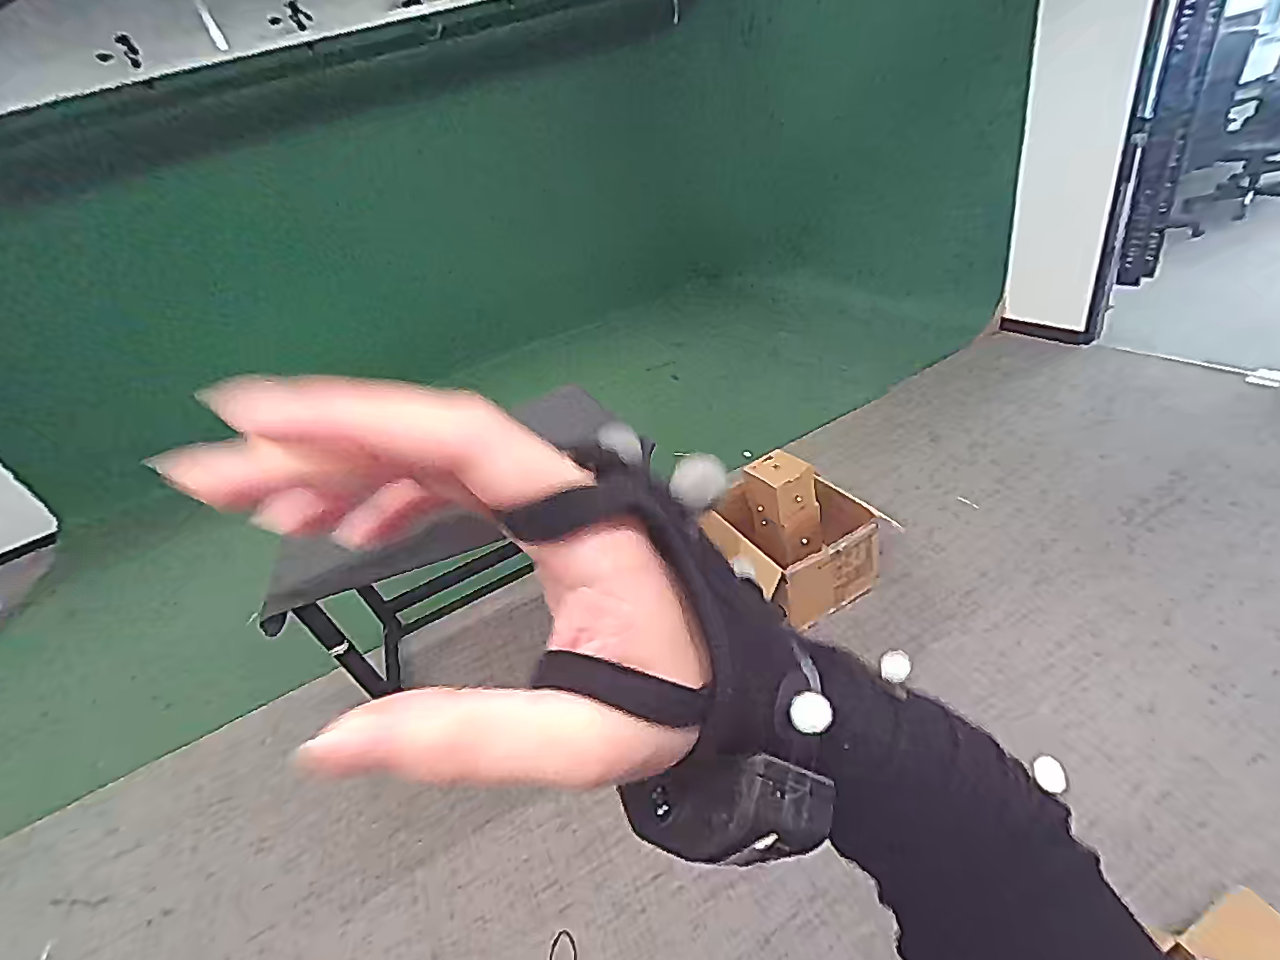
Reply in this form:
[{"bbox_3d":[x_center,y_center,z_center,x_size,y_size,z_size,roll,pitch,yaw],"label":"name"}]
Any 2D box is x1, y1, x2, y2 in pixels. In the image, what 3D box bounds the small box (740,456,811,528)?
[{"bbox_3d":[0.482,0.048,1.906,0.168,0.176,0.179,-30,35,-20],"label":"small box"}]
